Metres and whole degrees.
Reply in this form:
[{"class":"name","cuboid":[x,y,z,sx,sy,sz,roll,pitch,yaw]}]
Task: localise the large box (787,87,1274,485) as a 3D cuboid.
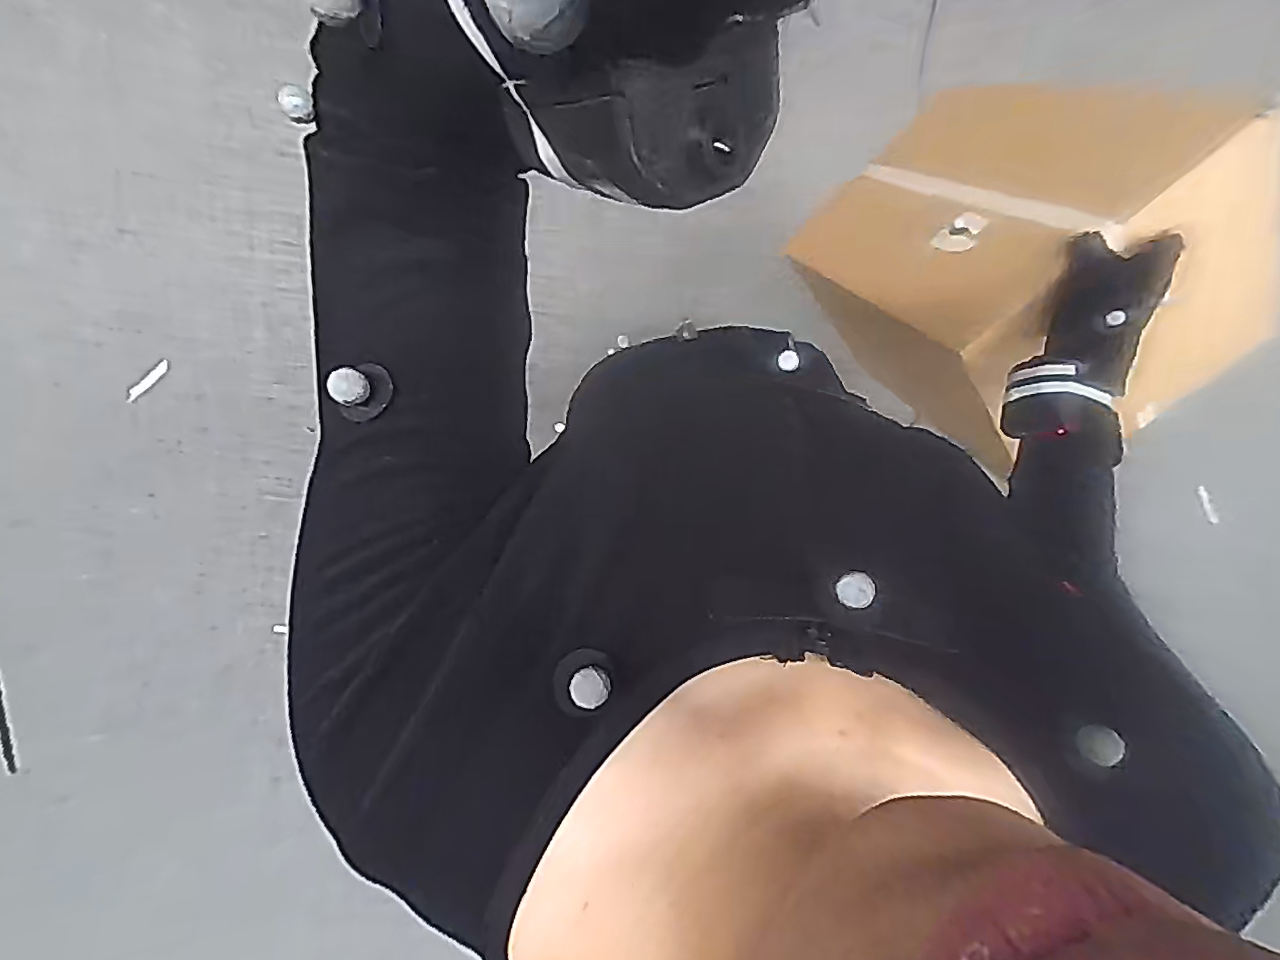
[{"class":"large box","cuboid":[0.481,-0.272,0.746,0.320,0.408,0.320,-41,129,16]}]
